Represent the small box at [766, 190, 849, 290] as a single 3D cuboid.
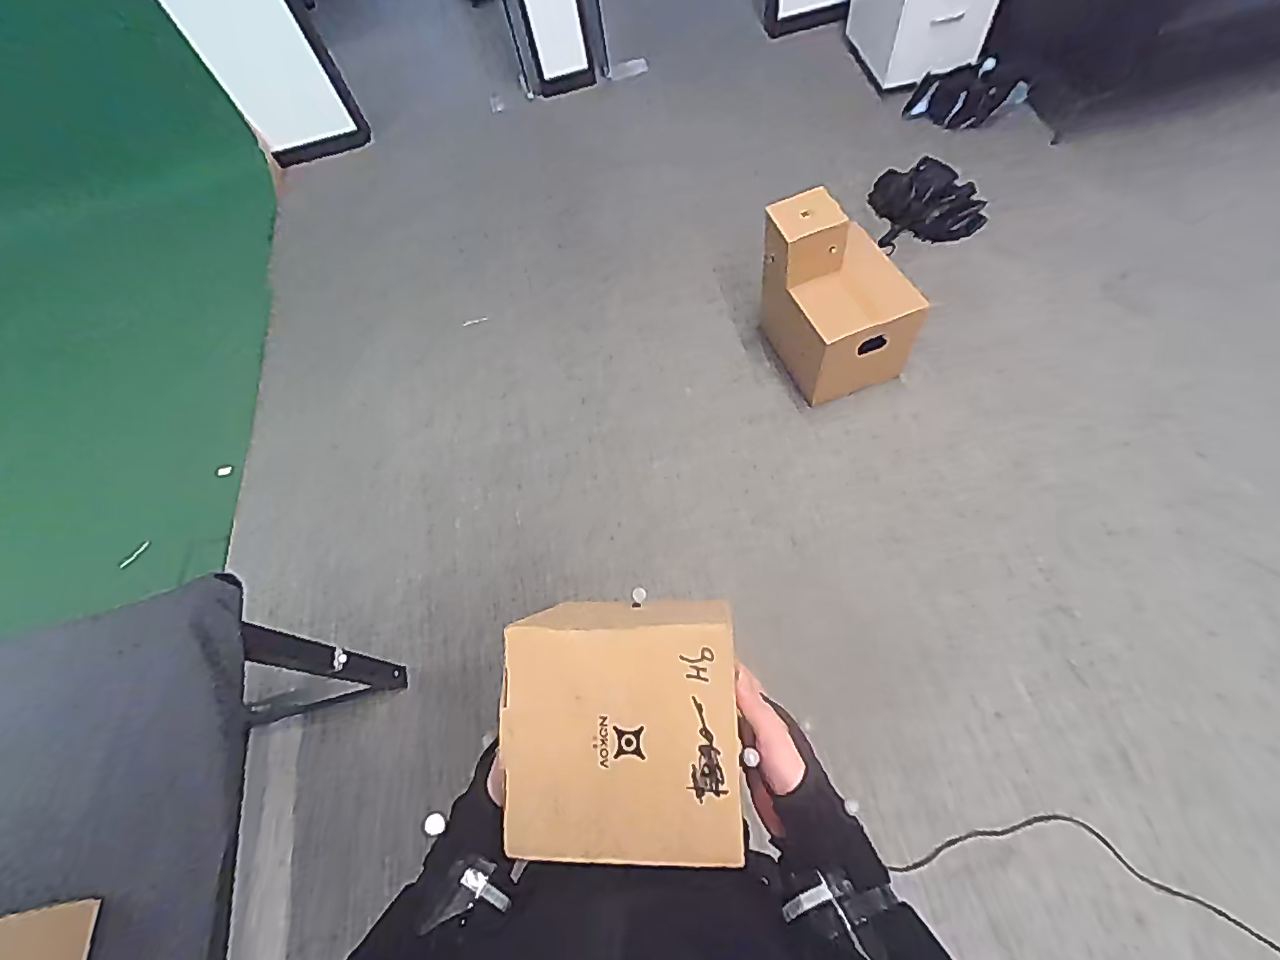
[{"bbox_3d":[0.471,-0.684,1.551,0.179,0.176,0.168,-21,60,3],"label":"small box"}]
